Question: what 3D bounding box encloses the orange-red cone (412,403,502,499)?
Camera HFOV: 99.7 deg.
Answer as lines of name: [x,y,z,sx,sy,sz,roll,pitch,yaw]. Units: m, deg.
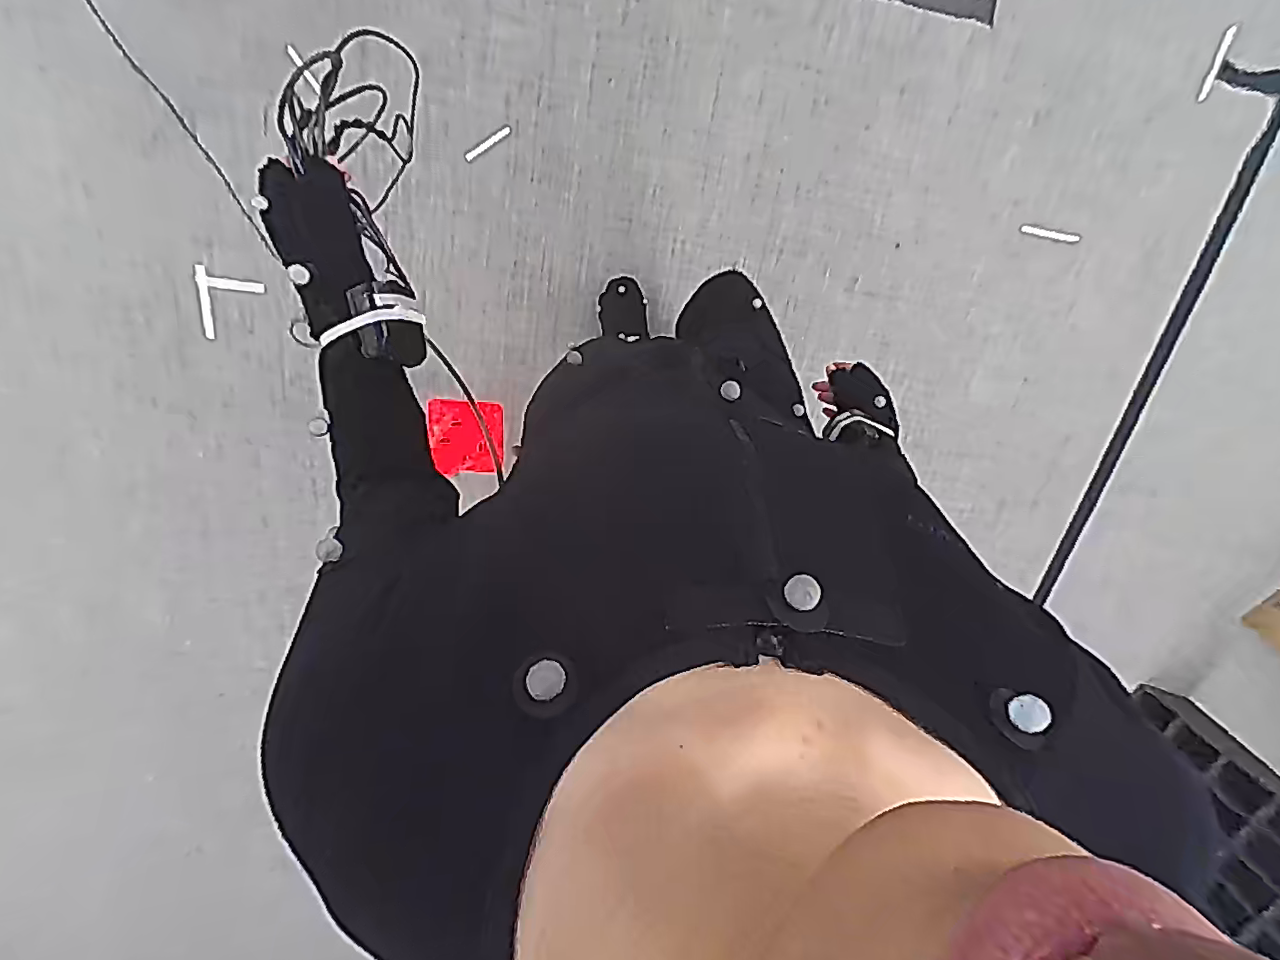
orange-red cone: [-0.462,-0.042,1.285,0.199,0.360,0.198,4,111,-4]
